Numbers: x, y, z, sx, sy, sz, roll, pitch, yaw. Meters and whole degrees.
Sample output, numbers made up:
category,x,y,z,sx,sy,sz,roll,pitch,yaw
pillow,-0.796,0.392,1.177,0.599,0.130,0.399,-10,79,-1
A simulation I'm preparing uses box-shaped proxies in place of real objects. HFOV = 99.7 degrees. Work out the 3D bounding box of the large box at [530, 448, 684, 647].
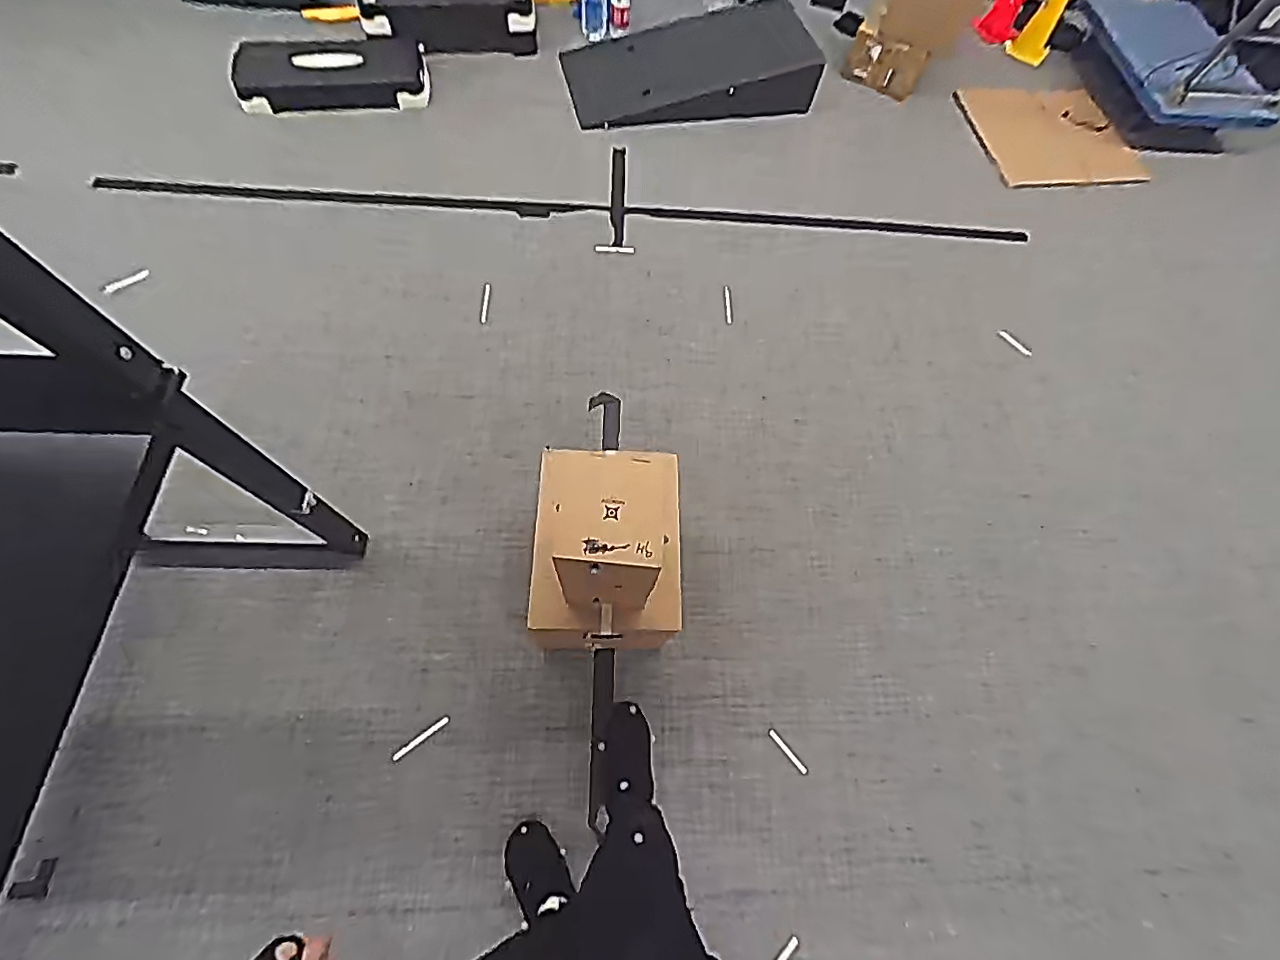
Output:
category,x,y,z,sx,sy,sz,roll,pitch,yaw
large box,-0.079,0.175,1.294,0.320,0.320,0.408,3,65,-5

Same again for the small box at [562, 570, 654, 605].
category,x,y,z,sx,sy,sz,roll,pitch,yaw
small box,-0.055,0.133,1.048,0.168,0.176,0.179,5,66,-2

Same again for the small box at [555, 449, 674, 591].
category,x,y,z,sx,sy,sz,roll,pitch,yaw
small box,-0.041,0.071,0.897,0.168,0.176,0.179,7,65,-1
